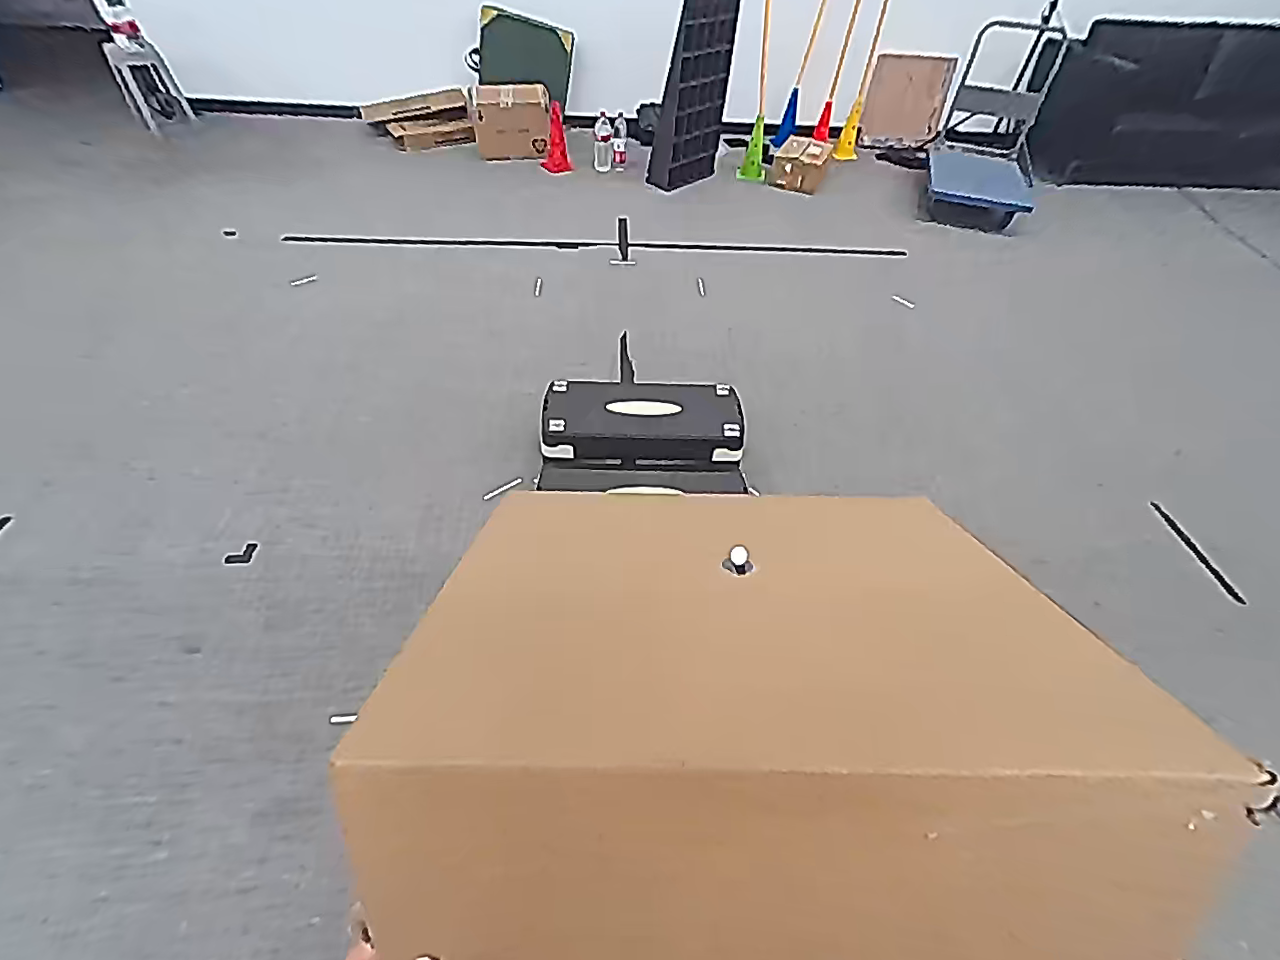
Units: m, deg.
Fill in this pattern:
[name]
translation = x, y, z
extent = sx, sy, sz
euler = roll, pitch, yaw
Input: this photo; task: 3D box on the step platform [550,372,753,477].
[step platform]
translation = 0.040, -0.191, 1.850
extent = 0.684, 0.204, 0.286
euler = 5, 49, -1
